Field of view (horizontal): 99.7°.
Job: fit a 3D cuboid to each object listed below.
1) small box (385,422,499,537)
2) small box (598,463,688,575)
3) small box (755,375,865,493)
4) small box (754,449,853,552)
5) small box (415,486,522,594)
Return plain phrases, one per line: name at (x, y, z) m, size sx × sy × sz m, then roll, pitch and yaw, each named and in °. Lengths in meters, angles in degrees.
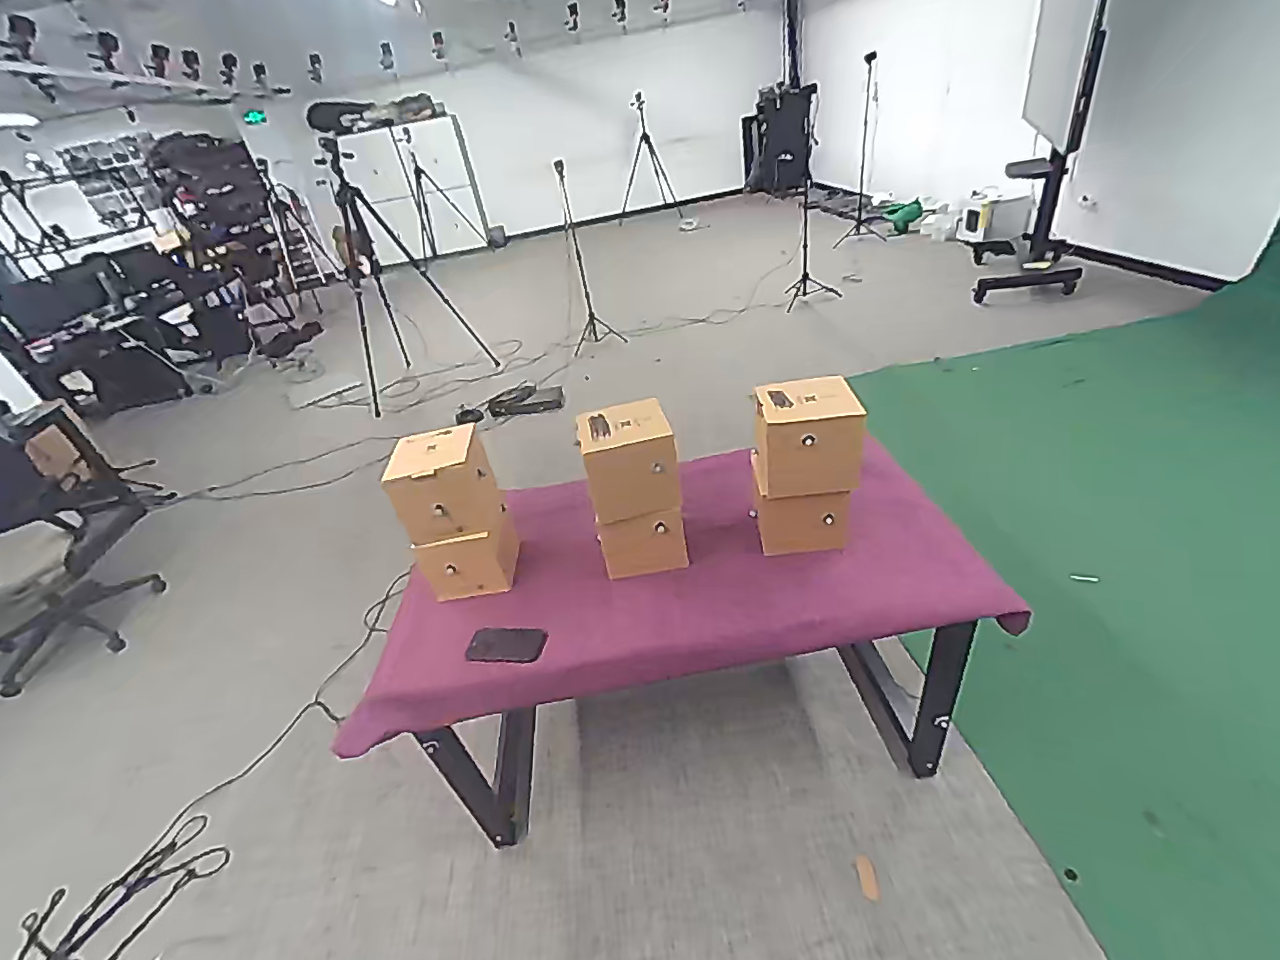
small box at (-0.405, 0.004, 1.141) m, size 0.168 × 0.176 × 0.179 m, roll -12°, pitch 35°, yaw -2°
small box at (0.008, 0.086, 1.192) m, size 0.179 × 0.176 × 0.168 m, roll -10°, pitch 34°, yaw 3°
small box at (0.327, -0.088, 1.062) m, size 0.179 × 0.176 × 0.168 m, roll -6°, pitch 34°, yaw 7°
small box at (0.345, 0.038, 1.167) m, size 0.179 × 0.176 × 0.168 m, roll -7°, pitch 34°, yaw 8°
small box at (-0.378, 0.142, 1.227) m, size 0.168 × 0.176 × 0.179 m, roll -9°, pitch 34°, yaw 3°
